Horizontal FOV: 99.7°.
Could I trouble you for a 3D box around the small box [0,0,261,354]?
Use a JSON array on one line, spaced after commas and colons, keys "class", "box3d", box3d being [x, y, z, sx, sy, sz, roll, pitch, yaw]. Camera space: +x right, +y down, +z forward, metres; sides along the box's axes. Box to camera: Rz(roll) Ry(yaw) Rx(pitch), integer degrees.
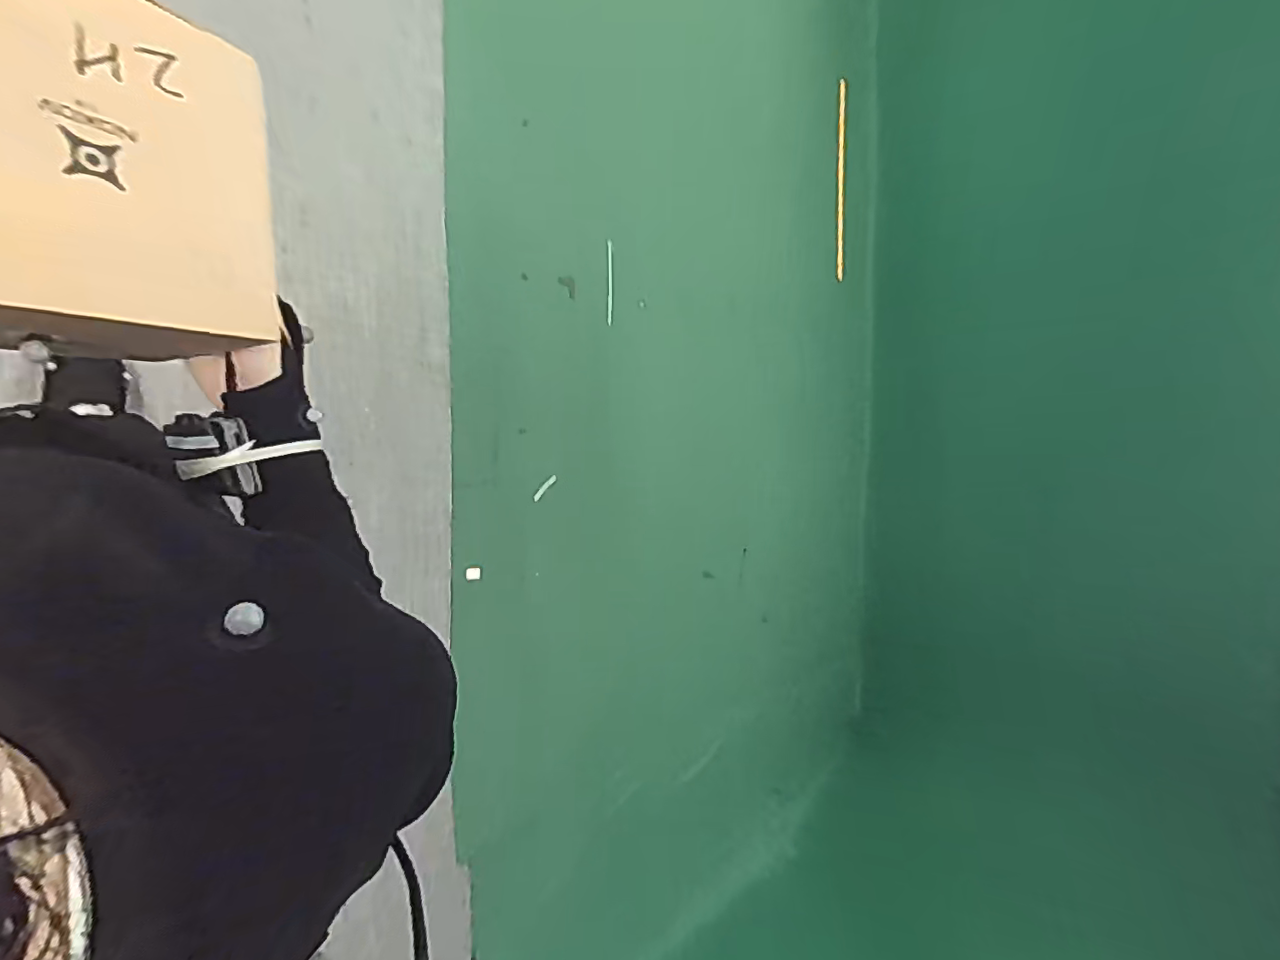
[{"class": "small box", "box3d": [-0.353, -0.172, 0.307, 0.168, 0.176, 0.179, -10, 100, -63]}]
